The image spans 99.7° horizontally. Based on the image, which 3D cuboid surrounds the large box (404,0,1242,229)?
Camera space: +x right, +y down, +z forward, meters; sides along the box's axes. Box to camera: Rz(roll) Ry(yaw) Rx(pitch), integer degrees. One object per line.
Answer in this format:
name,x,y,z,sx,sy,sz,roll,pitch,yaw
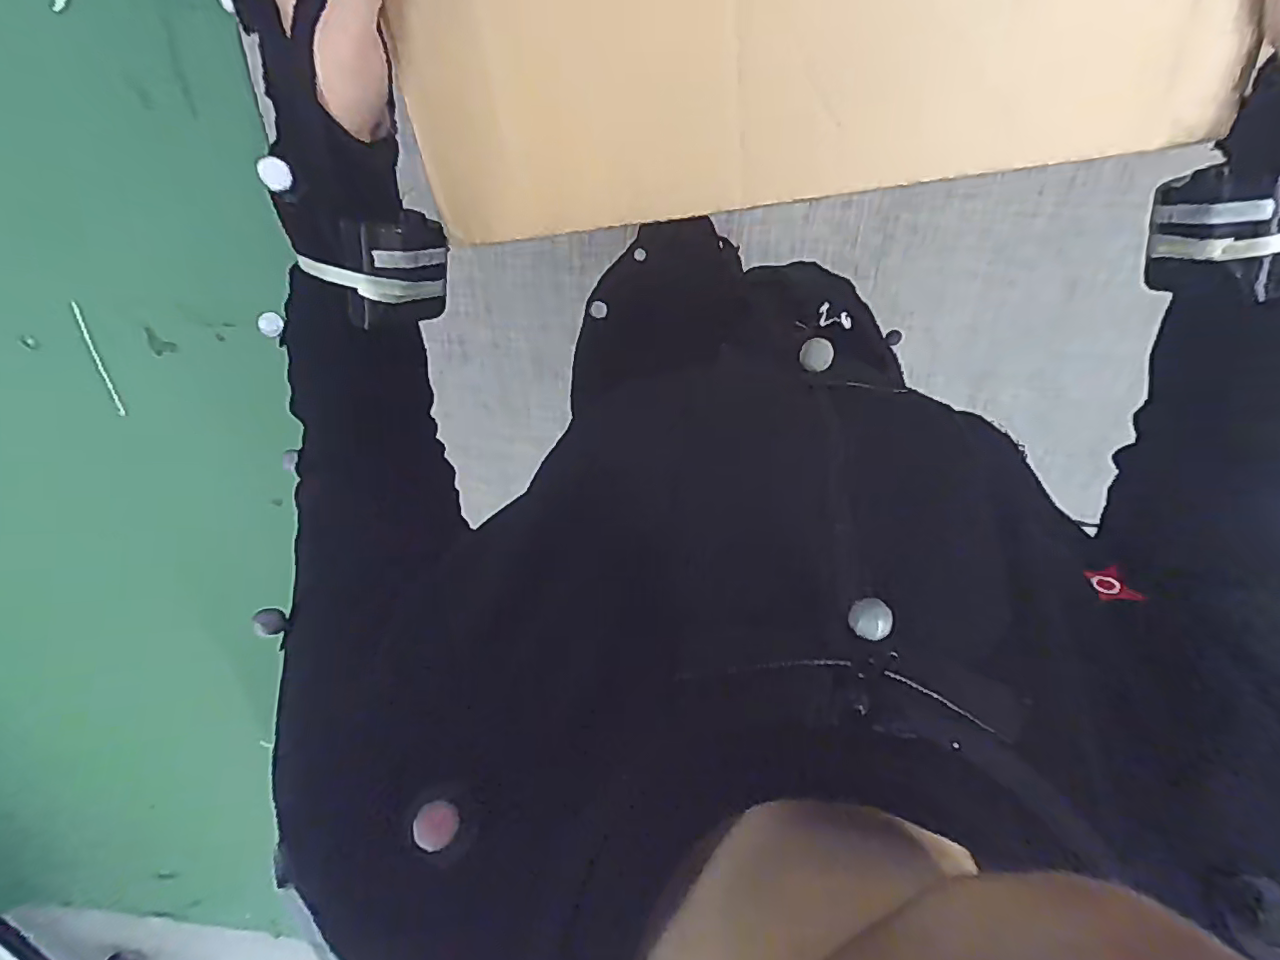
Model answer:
large box,0.074,-0.375,0.345,0.408,0.320,0.320,-6,122,5
